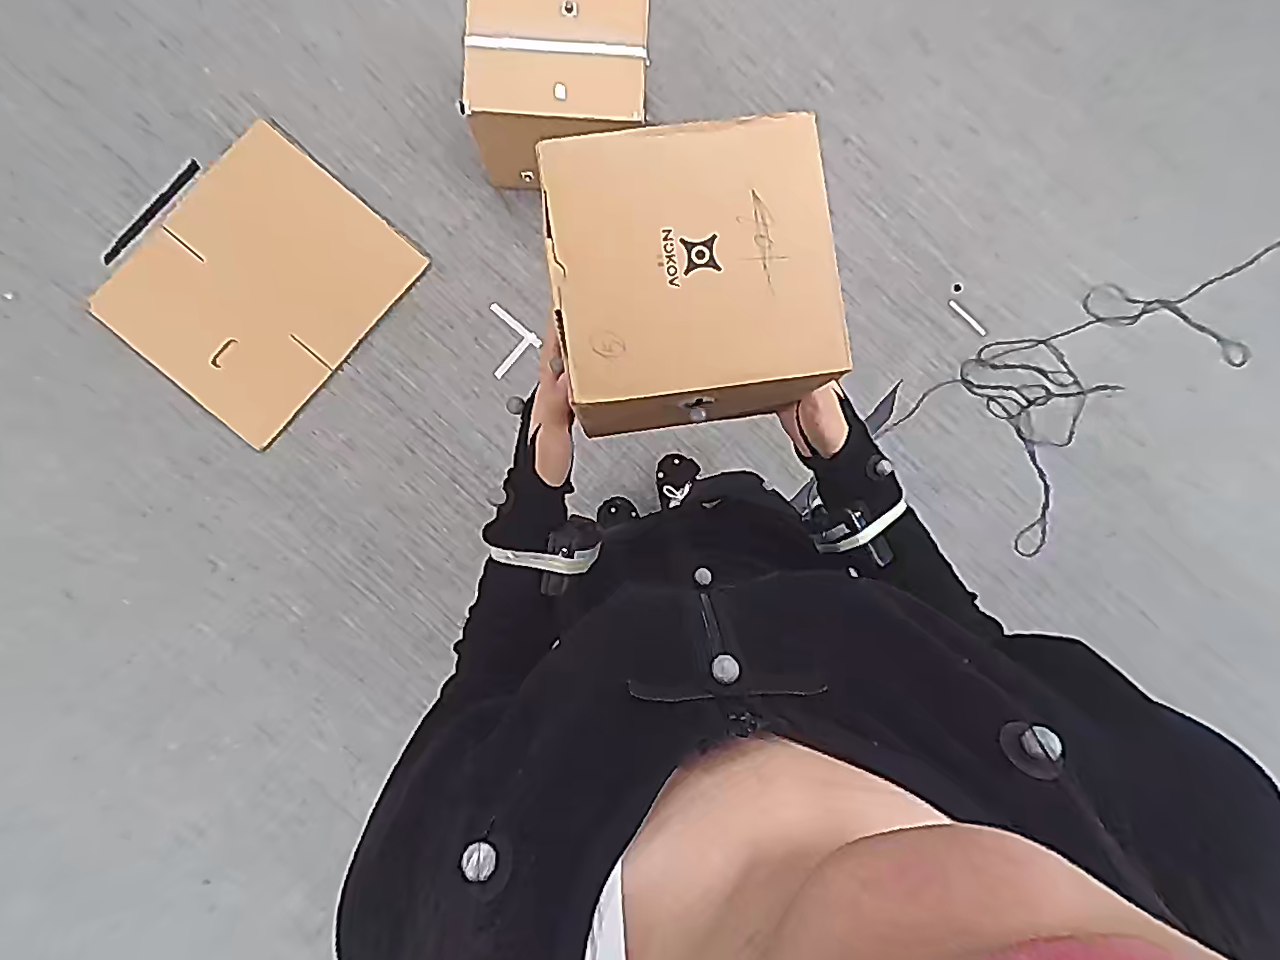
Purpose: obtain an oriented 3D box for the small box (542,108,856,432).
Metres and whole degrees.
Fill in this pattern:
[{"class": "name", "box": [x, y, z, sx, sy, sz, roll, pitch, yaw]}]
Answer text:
[{"class": "small box", "box": [0.033, -0.135, 0.409, 0.179, 0.176, 0.168, -8, 89, -3]}]
